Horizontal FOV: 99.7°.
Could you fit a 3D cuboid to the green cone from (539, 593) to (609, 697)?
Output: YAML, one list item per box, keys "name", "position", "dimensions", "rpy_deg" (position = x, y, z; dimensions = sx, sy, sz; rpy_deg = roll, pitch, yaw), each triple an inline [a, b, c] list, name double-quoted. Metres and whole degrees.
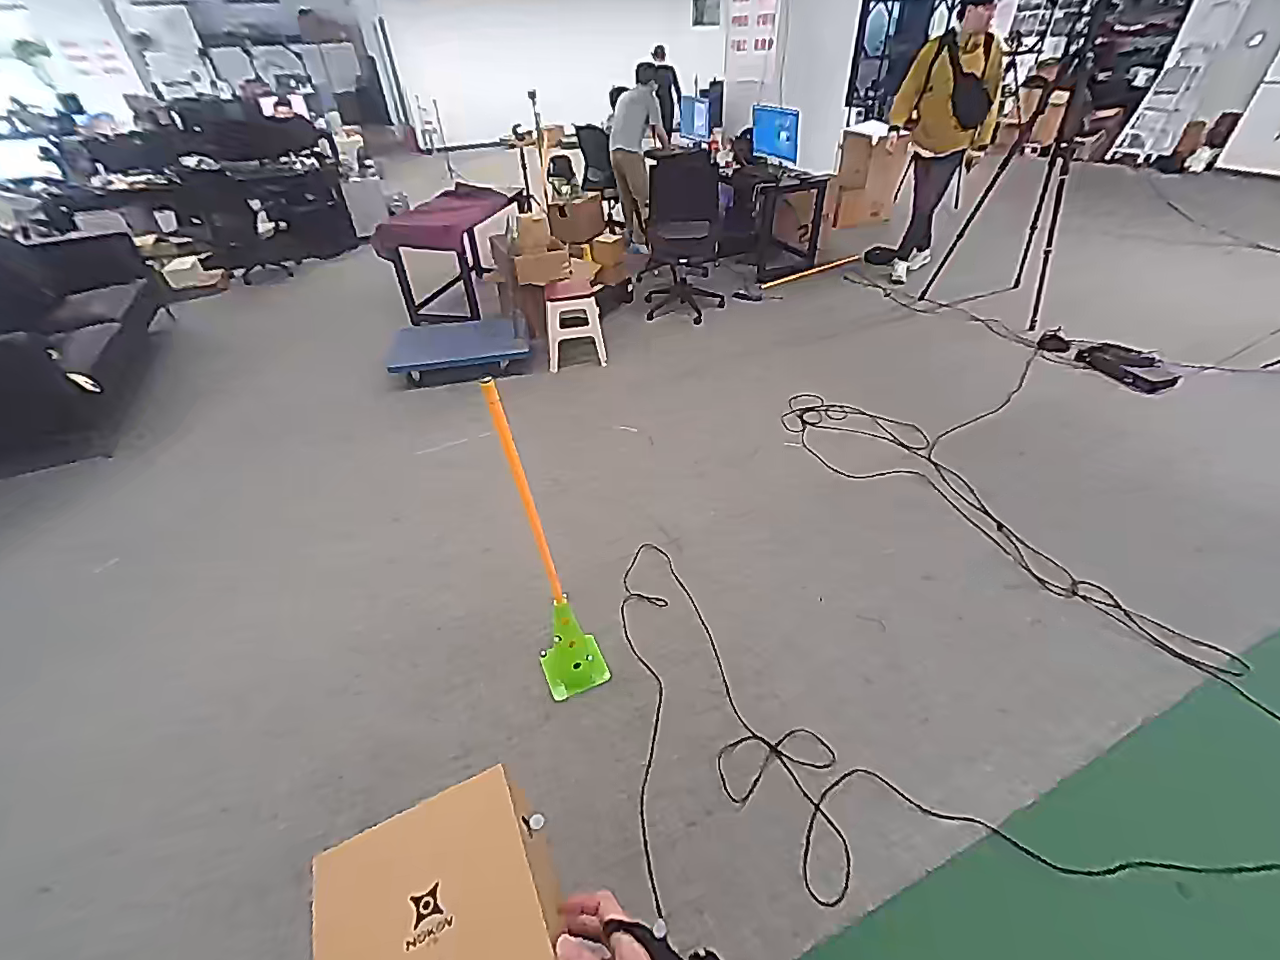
- name: "green cone"
  position: [-0.231, 0.498, 1.746]
  dimensions: [0.202, 0.368, 0.200]
  rpy_deg: [-17, 42, -18]
